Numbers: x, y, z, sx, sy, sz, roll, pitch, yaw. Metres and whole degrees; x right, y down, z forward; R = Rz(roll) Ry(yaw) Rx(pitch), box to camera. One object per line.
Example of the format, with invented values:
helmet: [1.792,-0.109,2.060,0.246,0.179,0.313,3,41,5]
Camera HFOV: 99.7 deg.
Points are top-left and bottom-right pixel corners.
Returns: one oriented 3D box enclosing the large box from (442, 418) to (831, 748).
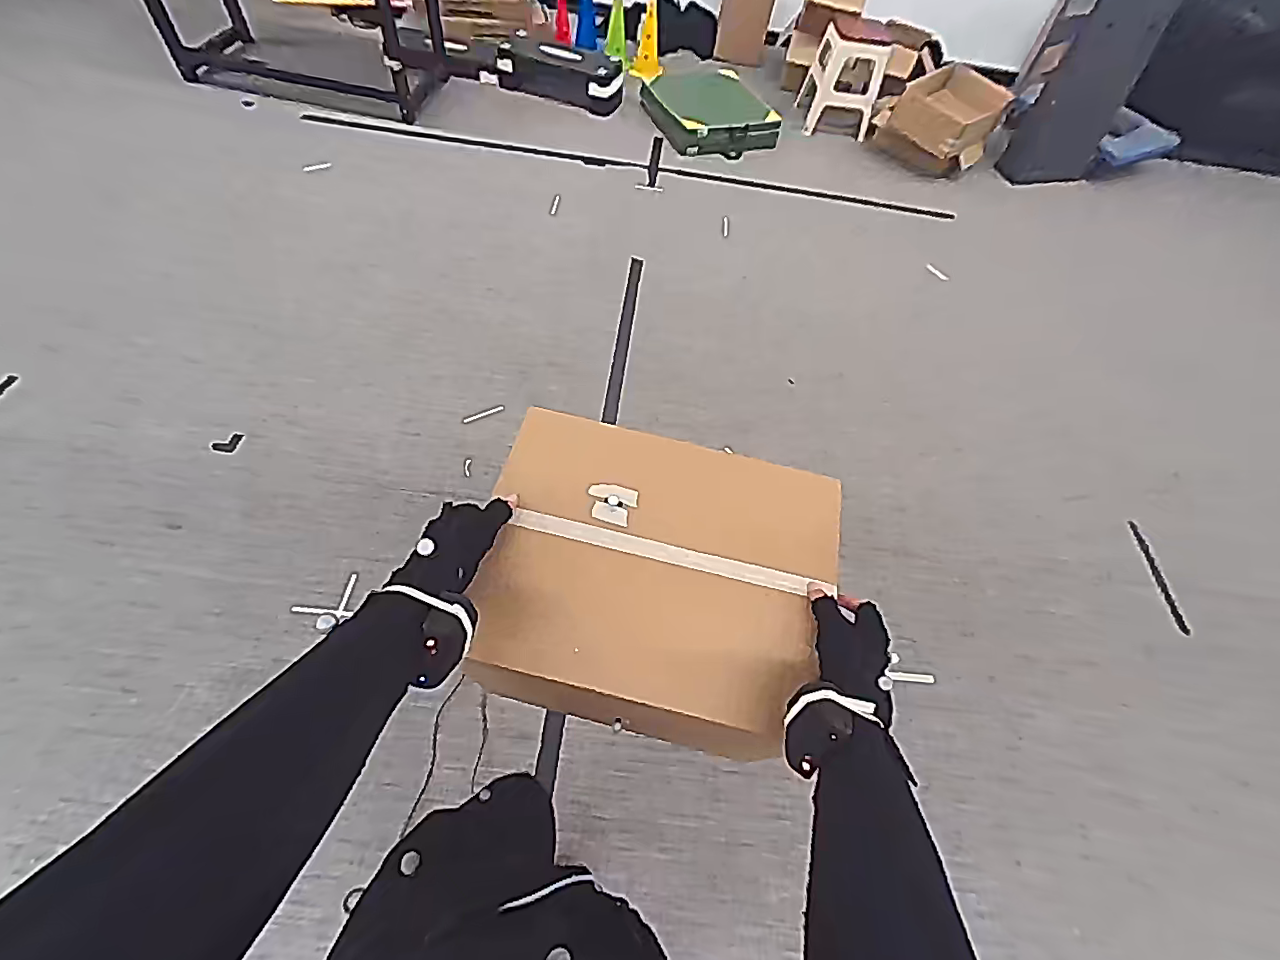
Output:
large box: [0.010,0.160,0.750,0.408,0.320,0.320,13,60,3]
